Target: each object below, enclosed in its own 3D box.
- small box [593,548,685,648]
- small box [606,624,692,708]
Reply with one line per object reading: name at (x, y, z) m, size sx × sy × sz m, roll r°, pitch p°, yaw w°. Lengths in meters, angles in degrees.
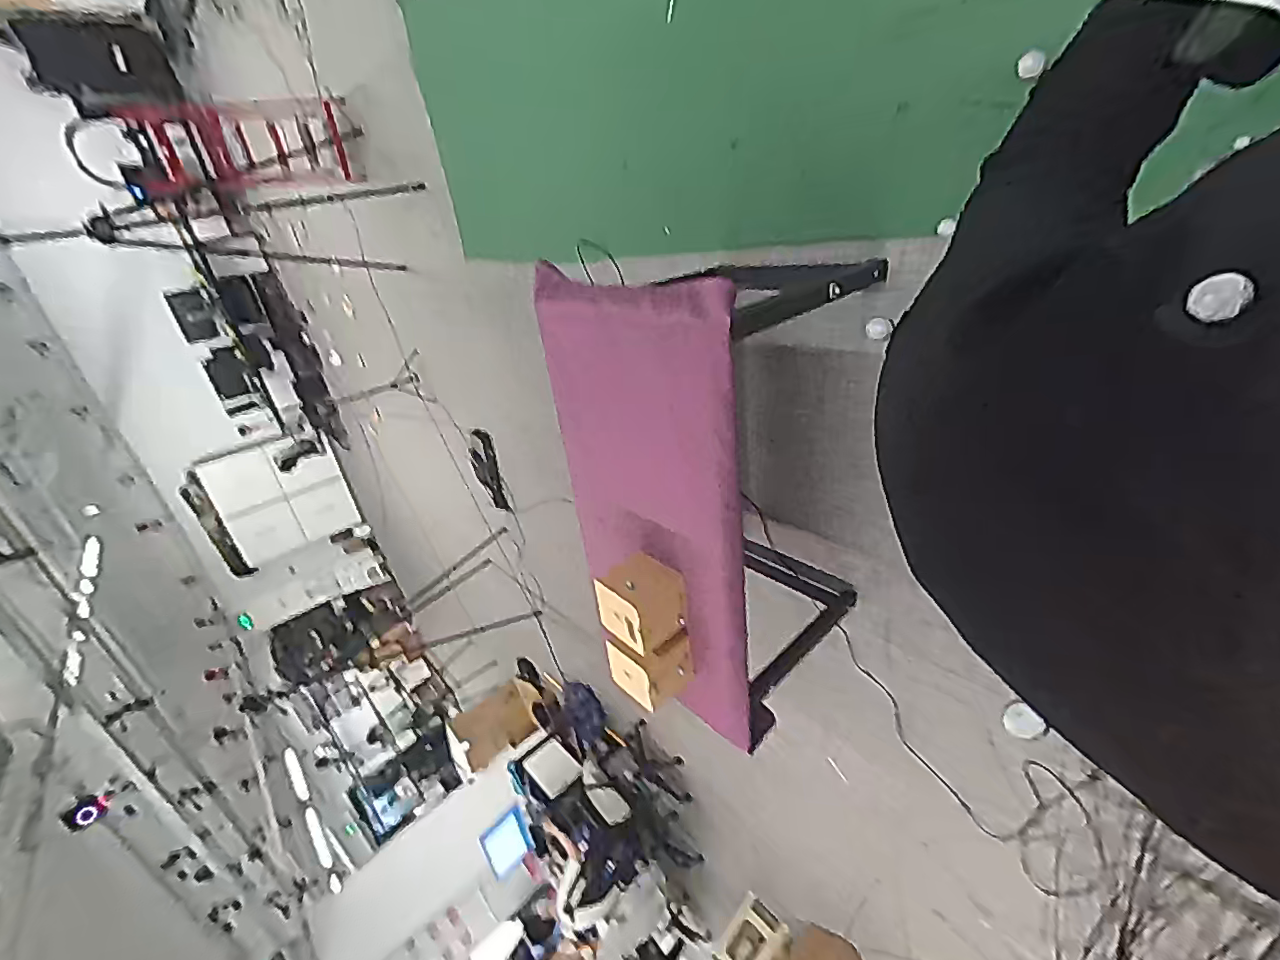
small box at (0.007, 0.308, 1.452) m, size 0.179 × 0.176 × 0.168 m, roll 20°, pitch 131°, yaw 43°
small box at (0.028, 0.503, 1.551) m, size 0.179 × 0.176 × 0.168 m, roll 23°, pitch 130°, yaw 43°
